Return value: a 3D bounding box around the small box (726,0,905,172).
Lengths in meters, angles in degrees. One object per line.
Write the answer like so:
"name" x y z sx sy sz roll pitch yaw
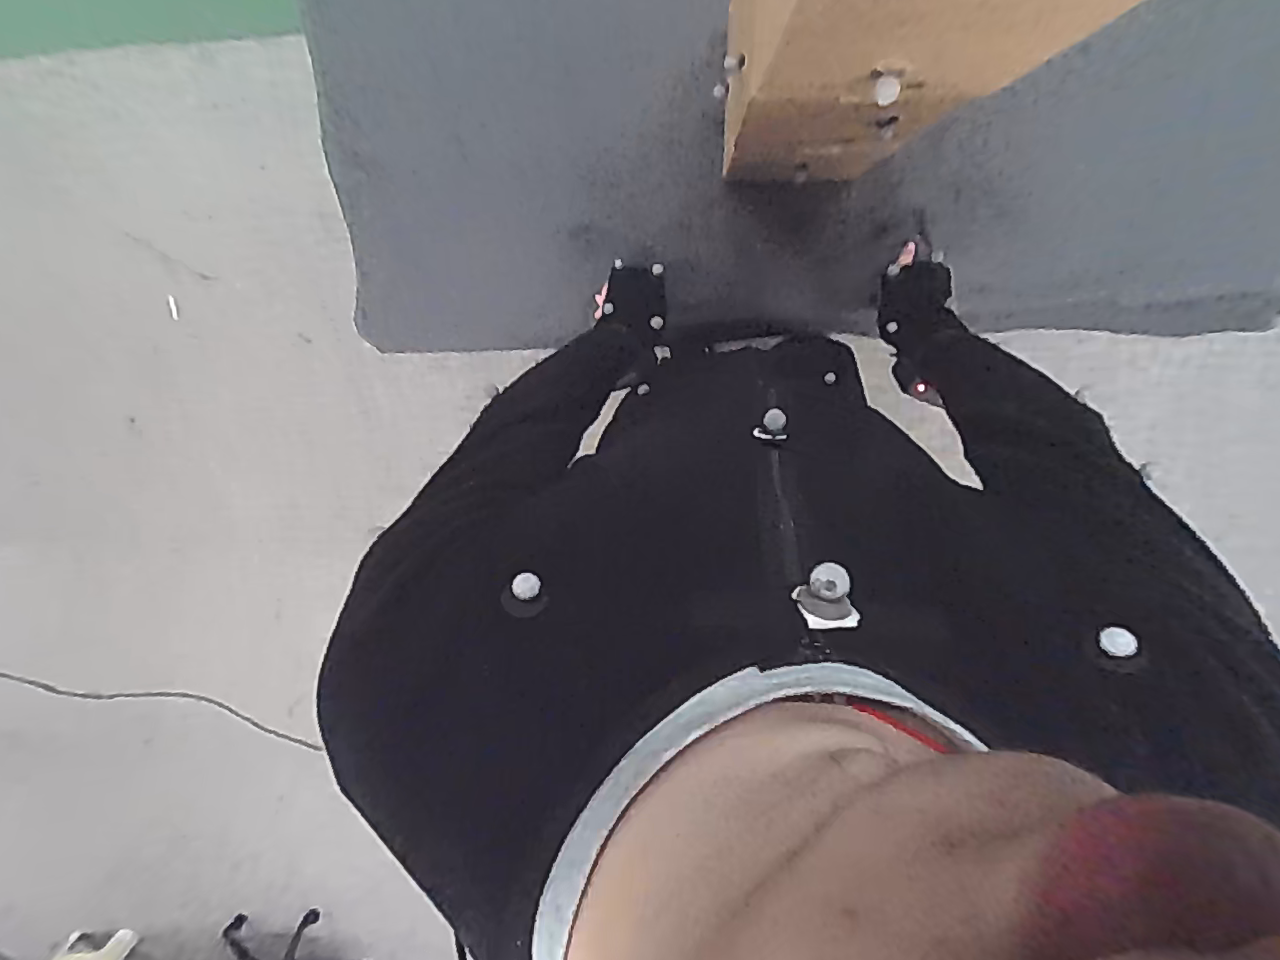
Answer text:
"small box" 0.180 -0.434 0.570 0.168 0.176 0.179 1 110 5

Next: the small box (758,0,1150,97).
"small box" 0.156 -0.318 0.266 0.168 0.176 0.179 2 111 4

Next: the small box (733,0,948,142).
"small box" 0.164 -0.378 0.418 0.168 0.176 0.179 0 109 4
